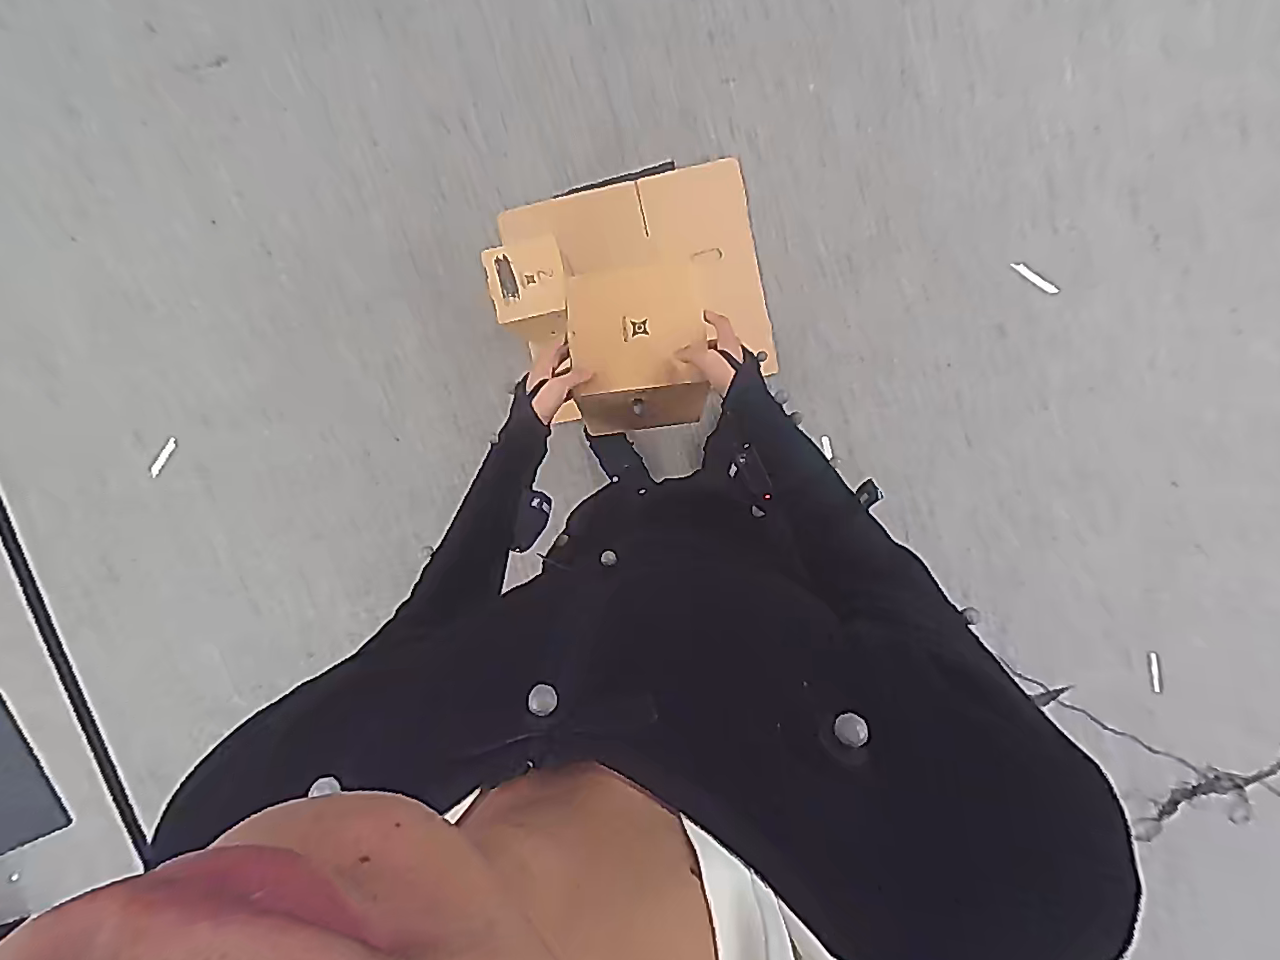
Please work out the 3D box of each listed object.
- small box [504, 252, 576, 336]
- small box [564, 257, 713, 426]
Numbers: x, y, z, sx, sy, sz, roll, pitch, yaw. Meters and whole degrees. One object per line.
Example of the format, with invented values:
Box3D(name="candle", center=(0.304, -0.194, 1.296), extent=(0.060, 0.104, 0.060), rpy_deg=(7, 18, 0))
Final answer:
Box3D(name="small box", center=(-0.247, -0.496, 1.461), extent=(0.179, 0.176, 0.168), rpy_deg=(-13, 98, 2))
Box3D(name="small box", center=(-0.001, -0.183, 0.757), extent=(0.179, 0.176, 0.168), rpy_deg=(-7, 79, 2))
